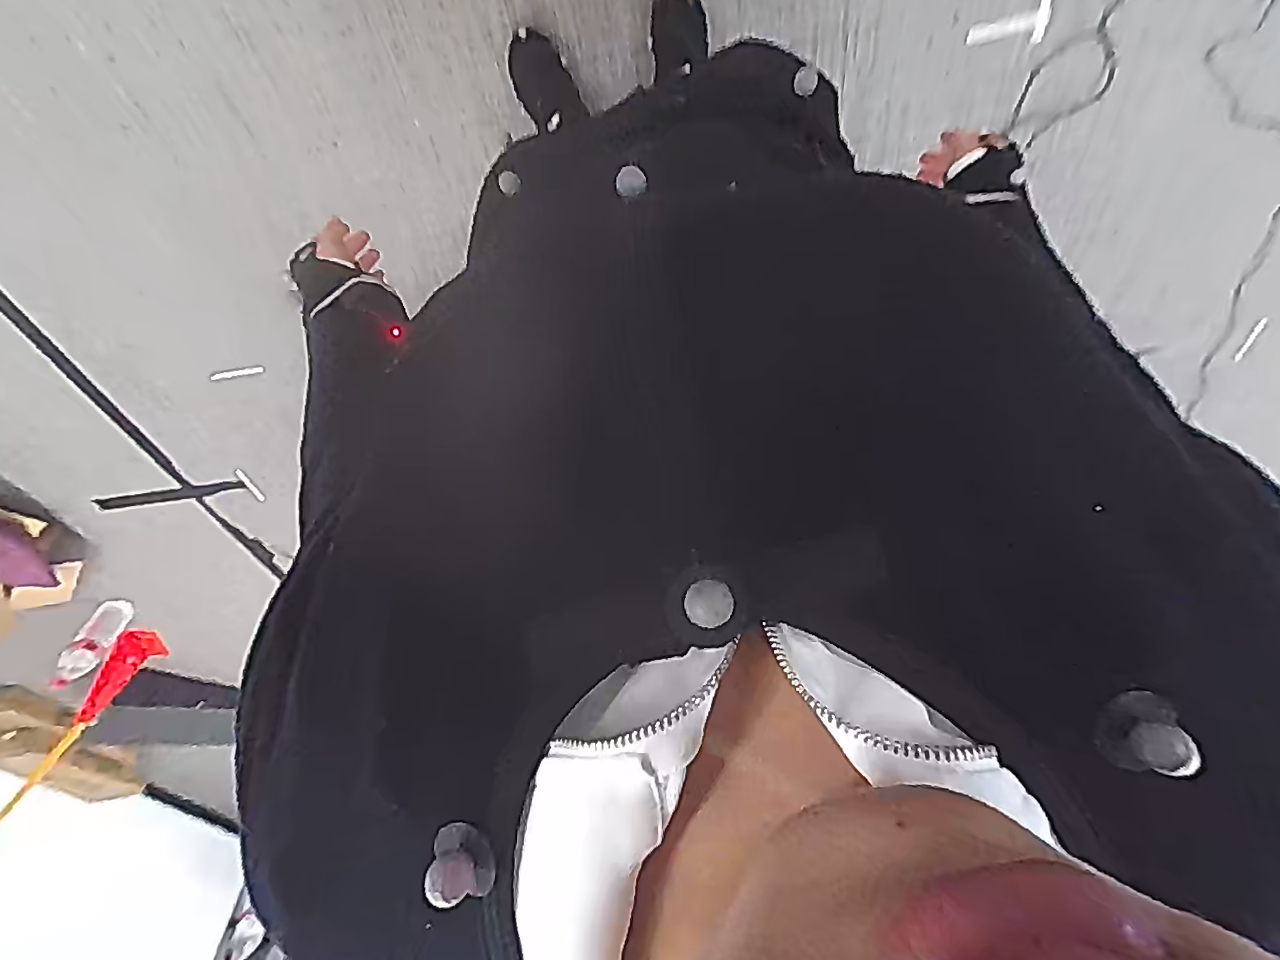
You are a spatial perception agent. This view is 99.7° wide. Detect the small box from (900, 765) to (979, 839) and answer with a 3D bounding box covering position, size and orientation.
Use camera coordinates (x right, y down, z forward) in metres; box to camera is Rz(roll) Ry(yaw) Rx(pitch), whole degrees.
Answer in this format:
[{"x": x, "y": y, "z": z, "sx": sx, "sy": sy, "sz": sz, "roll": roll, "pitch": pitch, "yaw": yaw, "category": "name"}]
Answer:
[{"x": 0.972, "y": 1.050, "z": 1.773, "sx": 0.168, "sy": 0.176, "sz": 0.179, "roll": -11, "pitch": 133, "yaw": 7, "category": "small box"}]
